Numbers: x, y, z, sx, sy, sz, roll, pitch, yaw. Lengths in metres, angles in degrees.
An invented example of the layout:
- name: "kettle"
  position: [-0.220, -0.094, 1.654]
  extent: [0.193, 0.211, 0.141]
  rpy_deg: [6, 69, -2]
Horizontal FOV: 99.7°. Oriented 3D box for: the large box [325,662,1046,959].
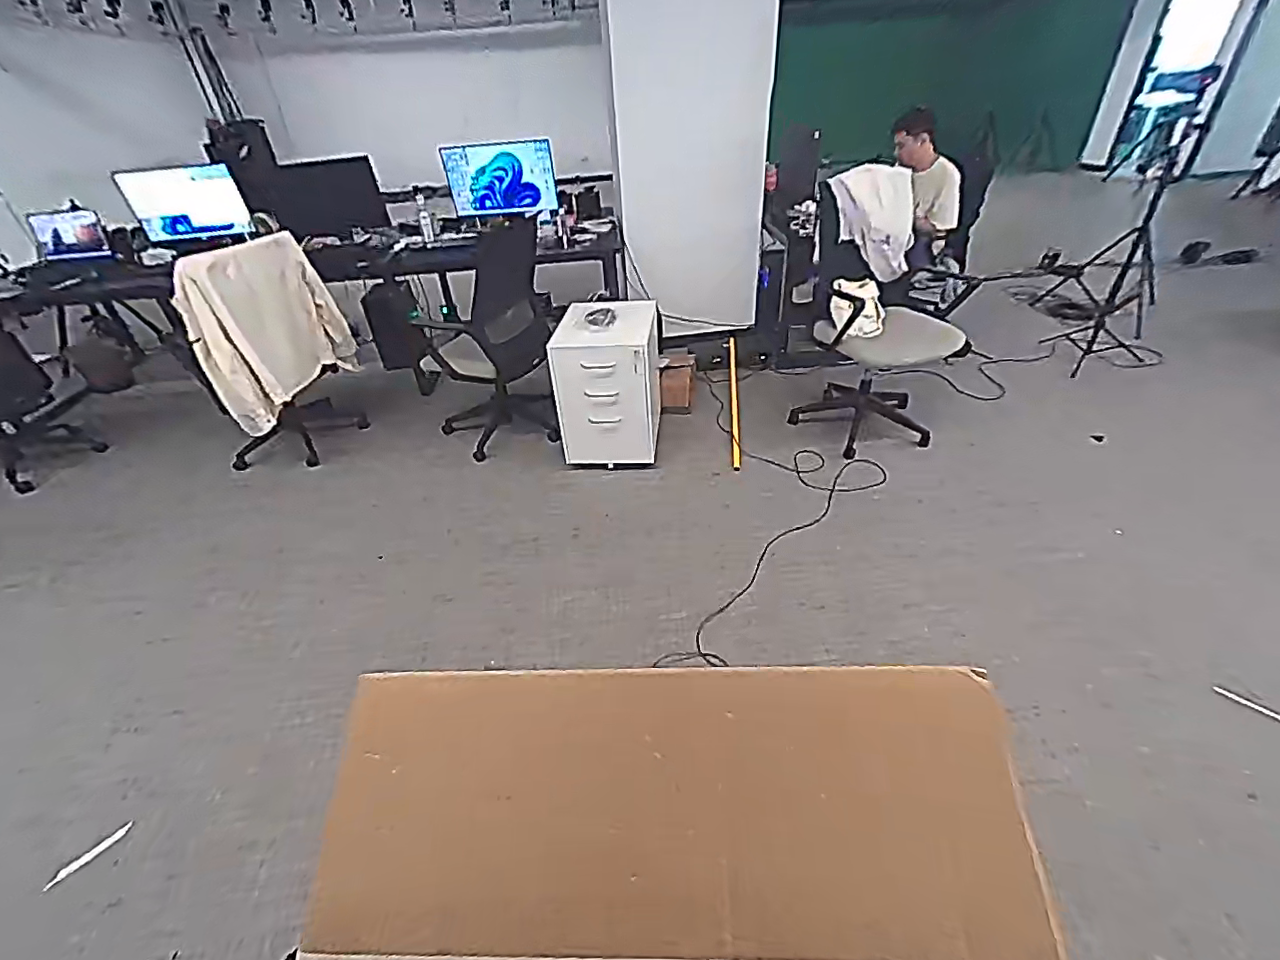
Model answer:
- name: "large box"
  position: [0.028, 0.332, 0.427]
  extent: [0.408, 0.320, 0.320]
  rpy_deg: [-2, 64, 5]
